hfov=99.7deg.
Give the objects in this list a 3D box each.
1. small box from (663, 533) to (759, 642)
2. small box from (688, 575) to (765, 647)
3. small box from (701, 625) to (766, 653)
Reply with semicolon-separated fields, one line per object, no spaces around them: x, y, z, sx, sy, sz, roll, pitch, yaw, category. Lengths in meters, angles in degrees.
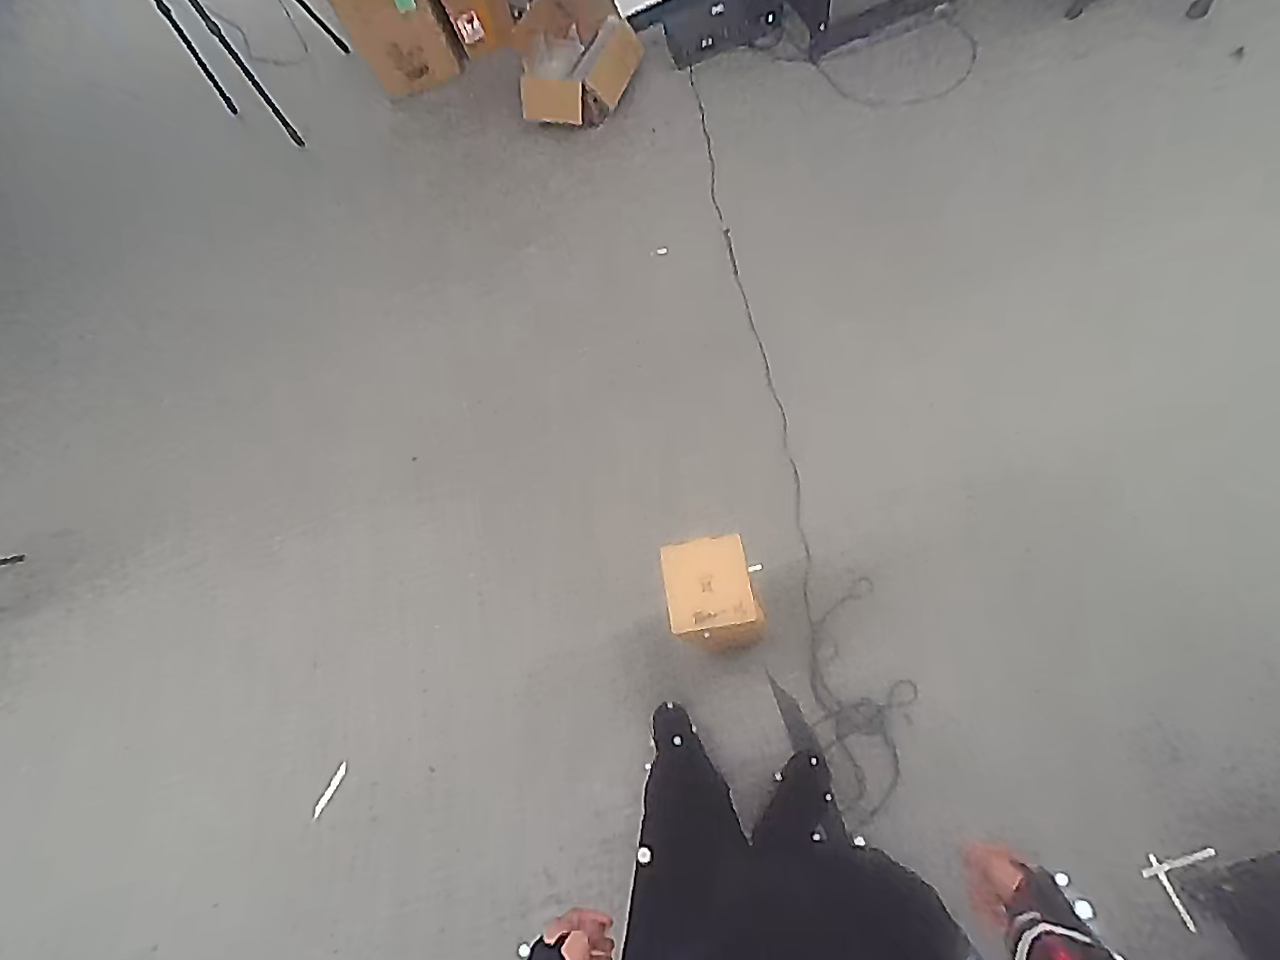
0.149;0.229;1.122;0.168;0.176;0.179;-12;66;9;small box
0.187;0.285;1.272;0.179;0.176;0.168;-18;66;6;small box
0.222;0.343;1.420;0.168;0.176;0.179;-20;66;6;small box
